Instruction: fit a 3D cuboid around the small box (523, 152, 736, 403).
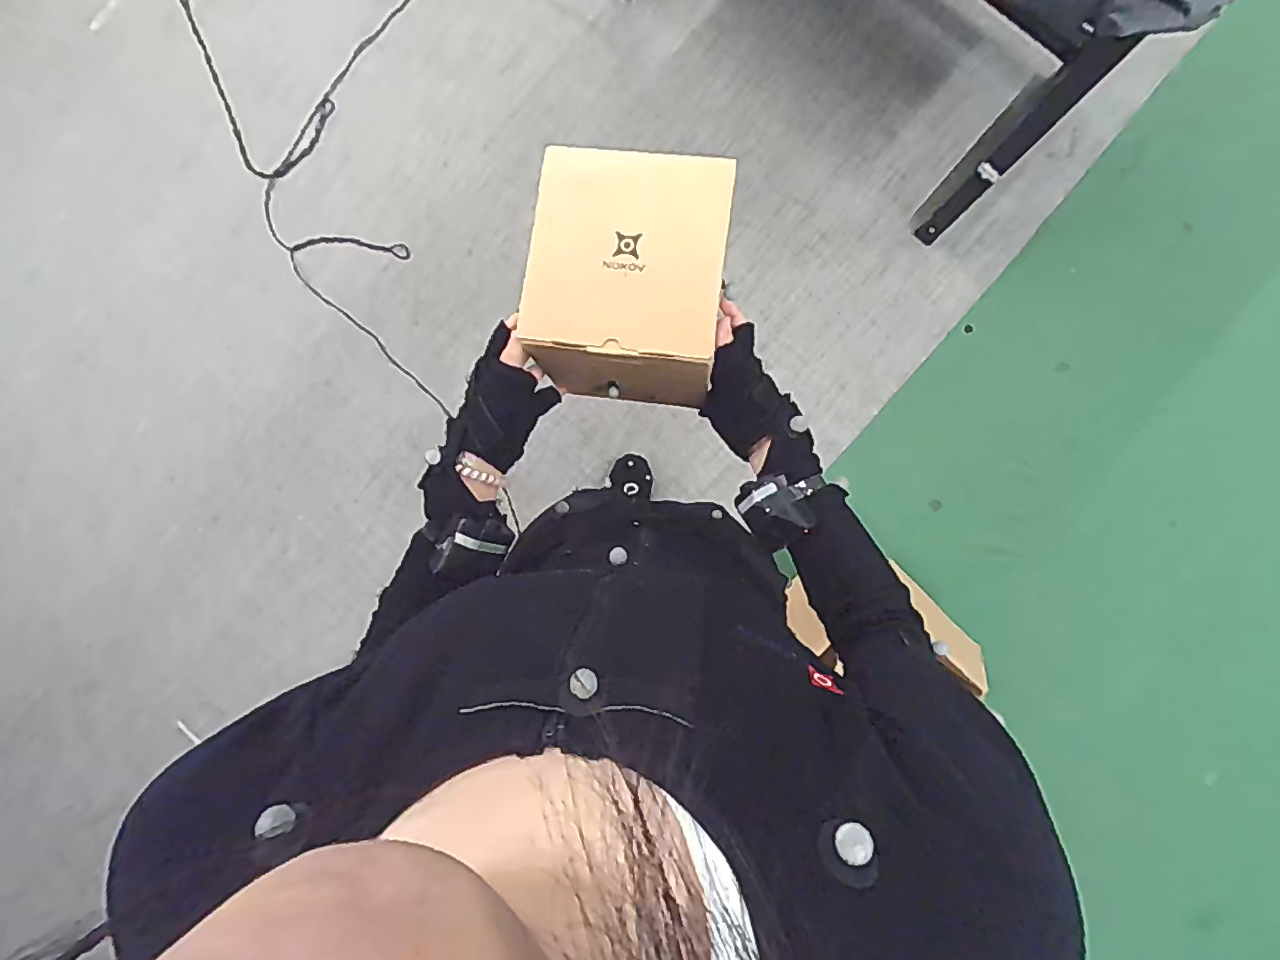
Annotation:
[{"bbox_3d":[-0.004,-0.188,0.546,0.168,0.176,0.179,8,87,5],"label":"small box"}]
